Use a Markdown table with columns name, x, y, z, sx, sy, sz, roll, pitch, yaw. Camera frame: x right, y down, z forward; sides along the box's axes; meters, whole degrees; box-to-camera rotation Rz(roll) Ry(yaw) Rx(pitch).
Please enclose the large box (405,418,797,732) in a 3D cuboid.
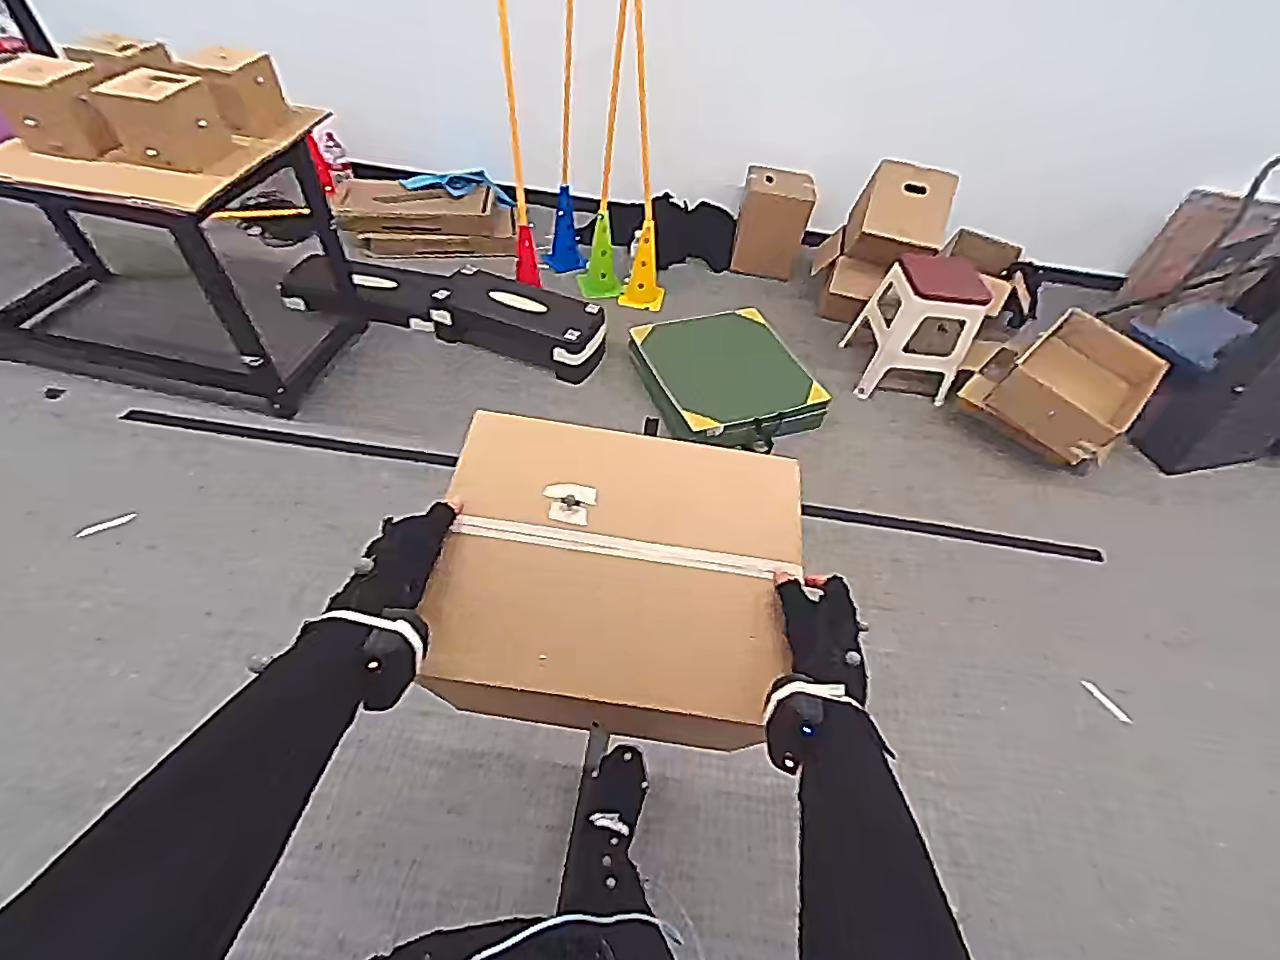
| name | x | y | z | sx | sy | sz | roll | pitch | yaw |
| --- | --- | --- | --- | --- | --- | --- | --- | --- | --- |
| large box | -0.033 | 0.150 | 0.741 | 0.408 | 0.320 | 0.320 | 8 | 59 | -1 |
